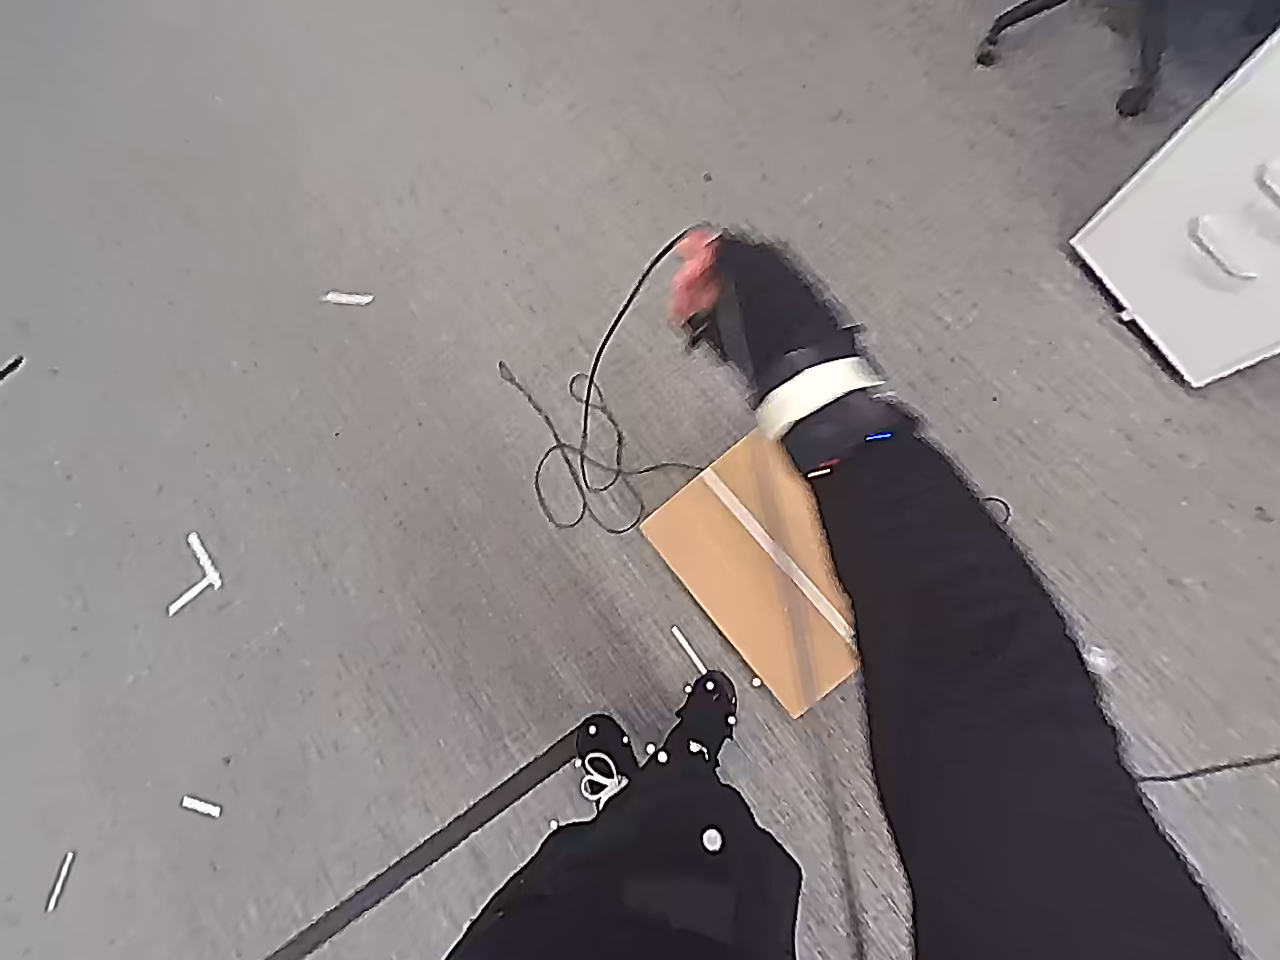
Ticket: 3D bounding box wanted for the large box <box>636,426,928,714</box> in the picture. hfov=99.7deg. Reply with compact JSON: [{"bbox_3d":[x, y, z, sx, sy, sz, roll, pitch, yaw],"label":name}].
[{"bbox_3d":[0.254,0.170,1.065,0.320,0.320,0.408,-40,76,-2],"label":"large box"}]
